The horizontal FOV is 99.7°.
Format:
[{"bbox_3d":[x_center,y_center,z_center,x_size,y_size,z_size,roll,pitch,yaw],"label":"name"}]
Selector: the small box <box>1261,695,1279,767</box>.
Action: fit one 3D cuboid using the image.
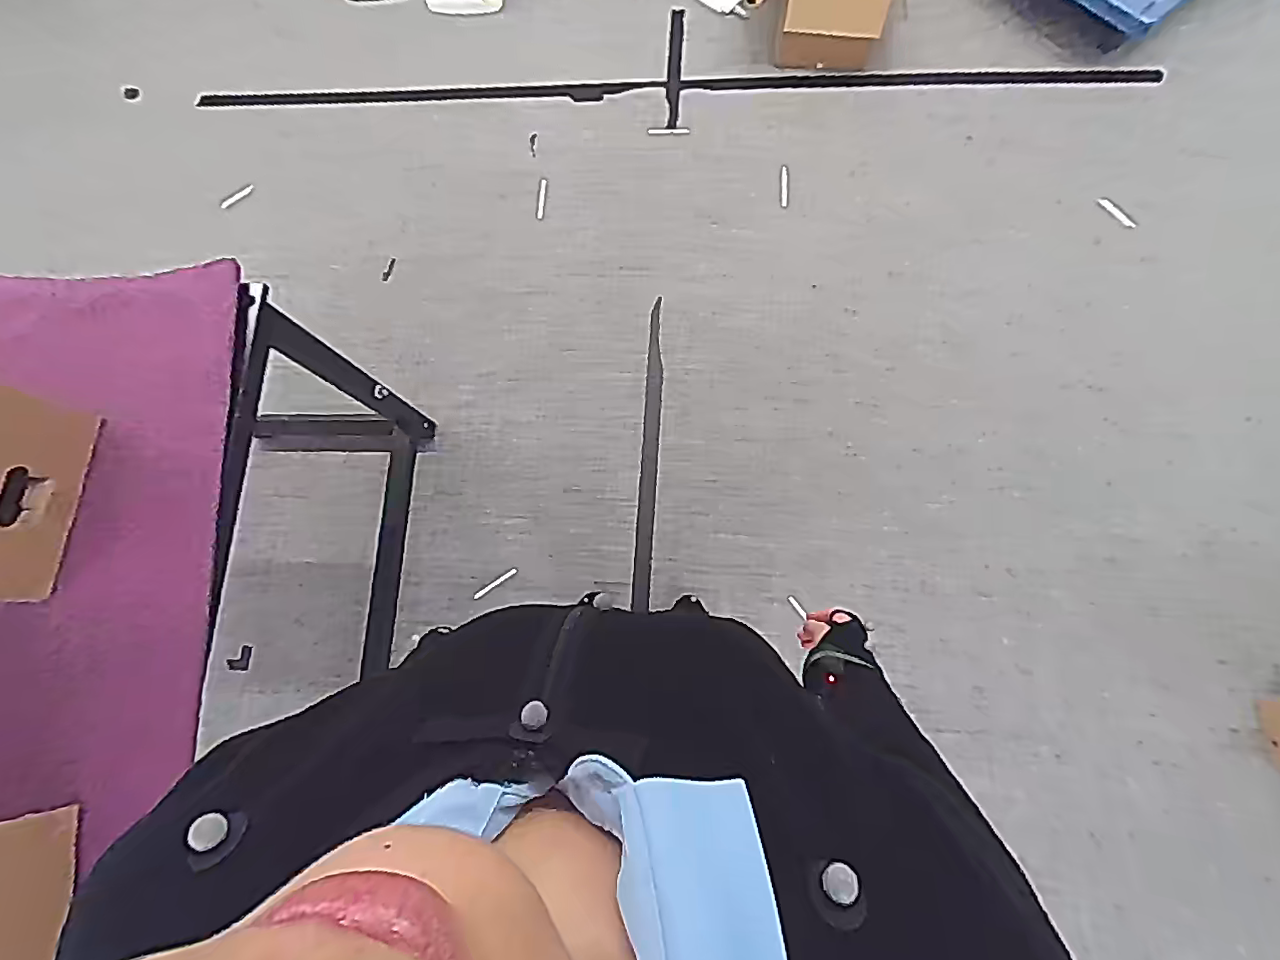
[{"bbox_3d":[1.611,0.597,1.248,0.179,0.176,0.168,0,77,3],"label":"small box"}]
